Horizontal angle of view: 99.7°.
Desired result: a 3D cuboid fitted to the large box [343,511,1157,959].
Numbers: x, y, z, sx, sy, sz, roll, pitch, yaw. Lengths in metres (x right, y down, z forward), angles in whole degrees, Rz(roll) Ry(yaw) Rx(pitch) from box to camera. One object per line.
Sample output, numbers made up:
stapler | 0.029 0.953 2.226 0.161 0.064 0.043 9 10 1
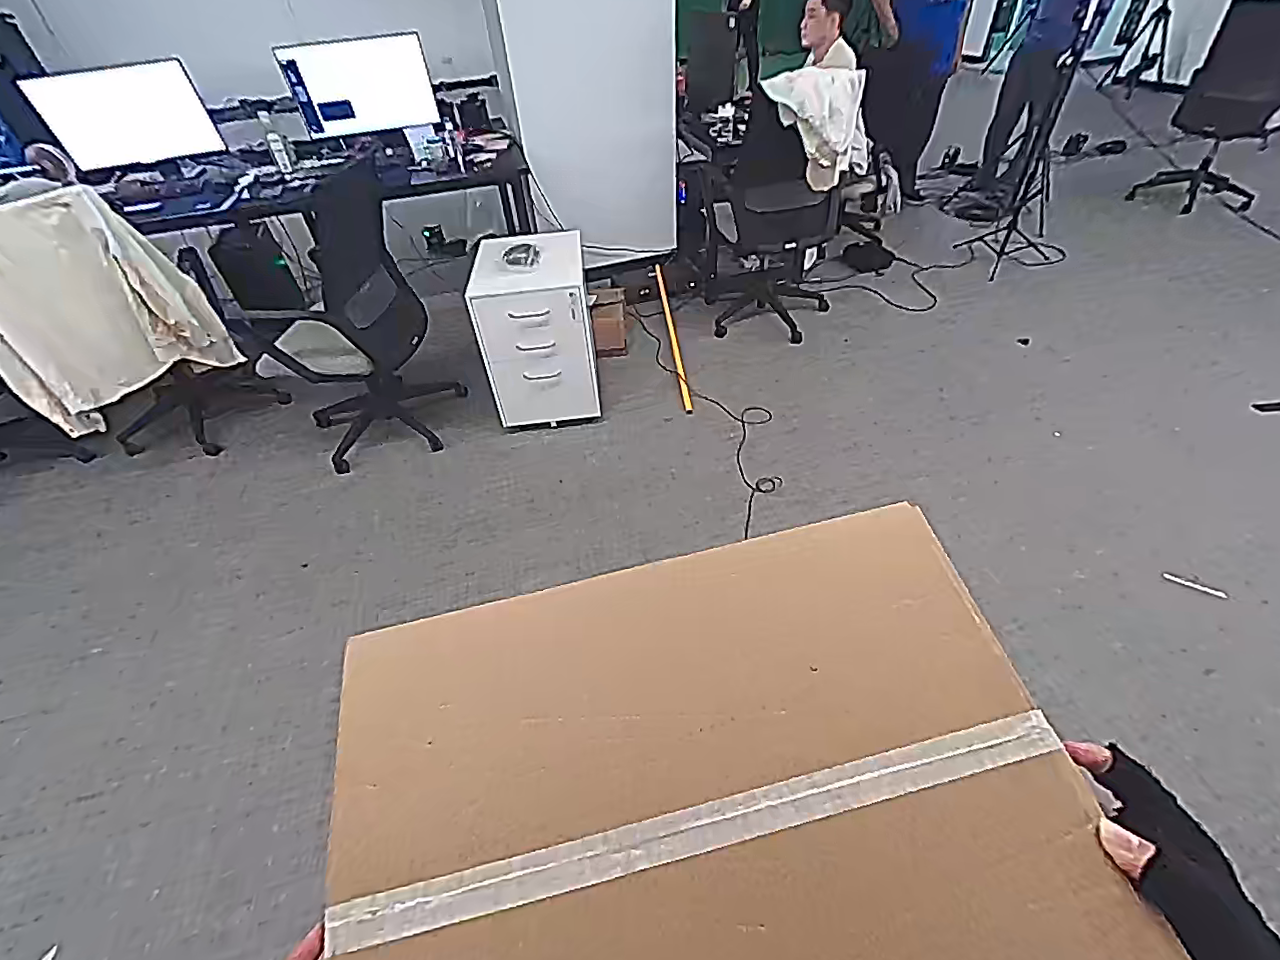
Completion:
large box | 0.045 0.270 0.431 0.408 0.320 0.320 -13 56 -3
